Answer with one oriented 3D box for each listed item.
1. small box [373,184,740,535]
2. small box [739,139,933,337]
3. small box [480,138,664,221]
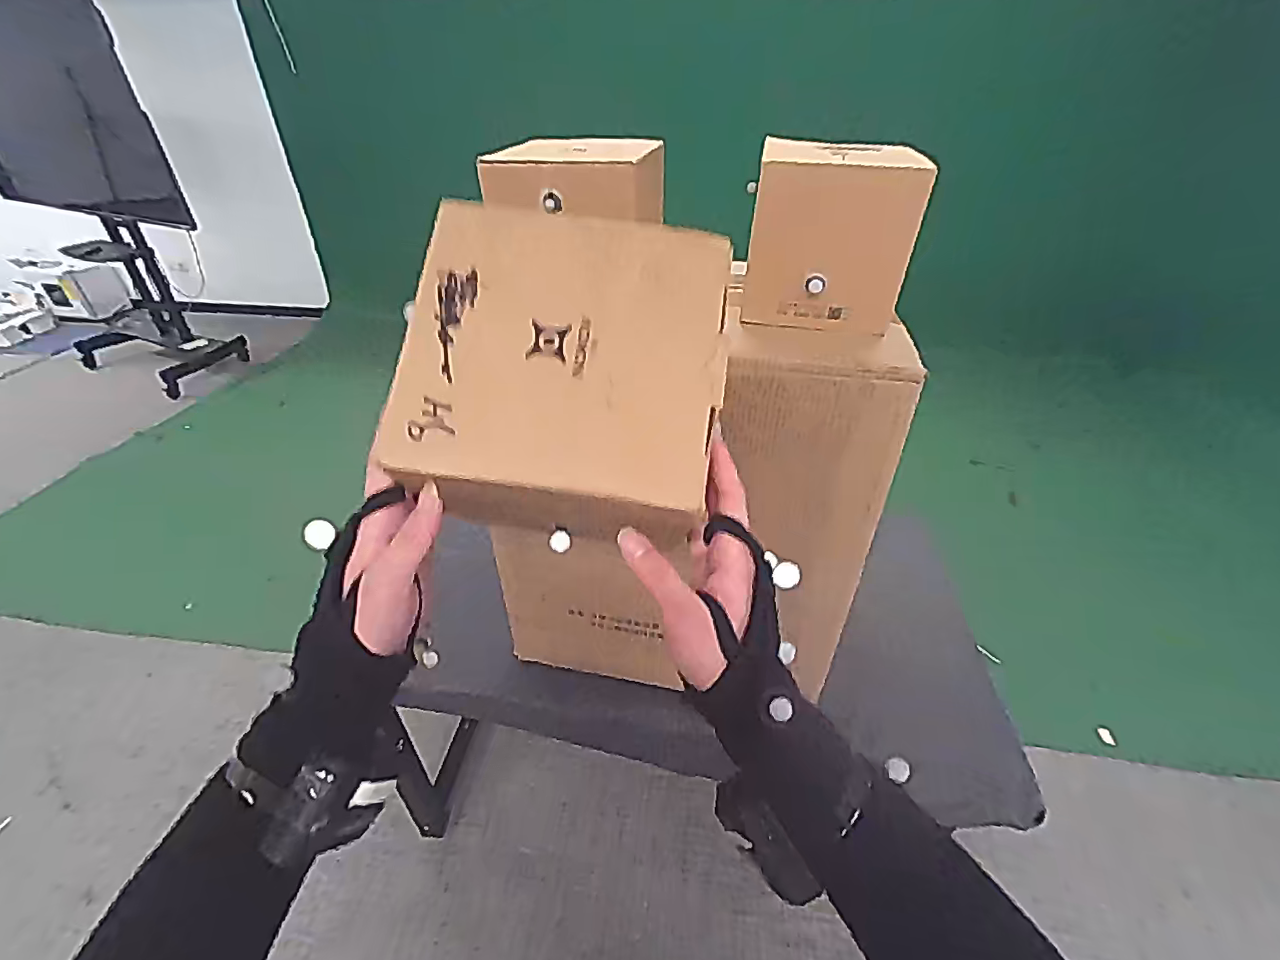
[{"bbox_3d":[-0.044,-0.060,0.373,0.179,0.176,0.168,9,76,-2],"label":"small box"},{"bbox_3d":[0.213,-0.288,0.636,0.168,0.176,0.179,9,40,8],"label":"small box"},{"bbox_3d":[-0.073,-0.313,0.672,0.179,0.176,0.168,9,41,7],"label":"small box"}]
